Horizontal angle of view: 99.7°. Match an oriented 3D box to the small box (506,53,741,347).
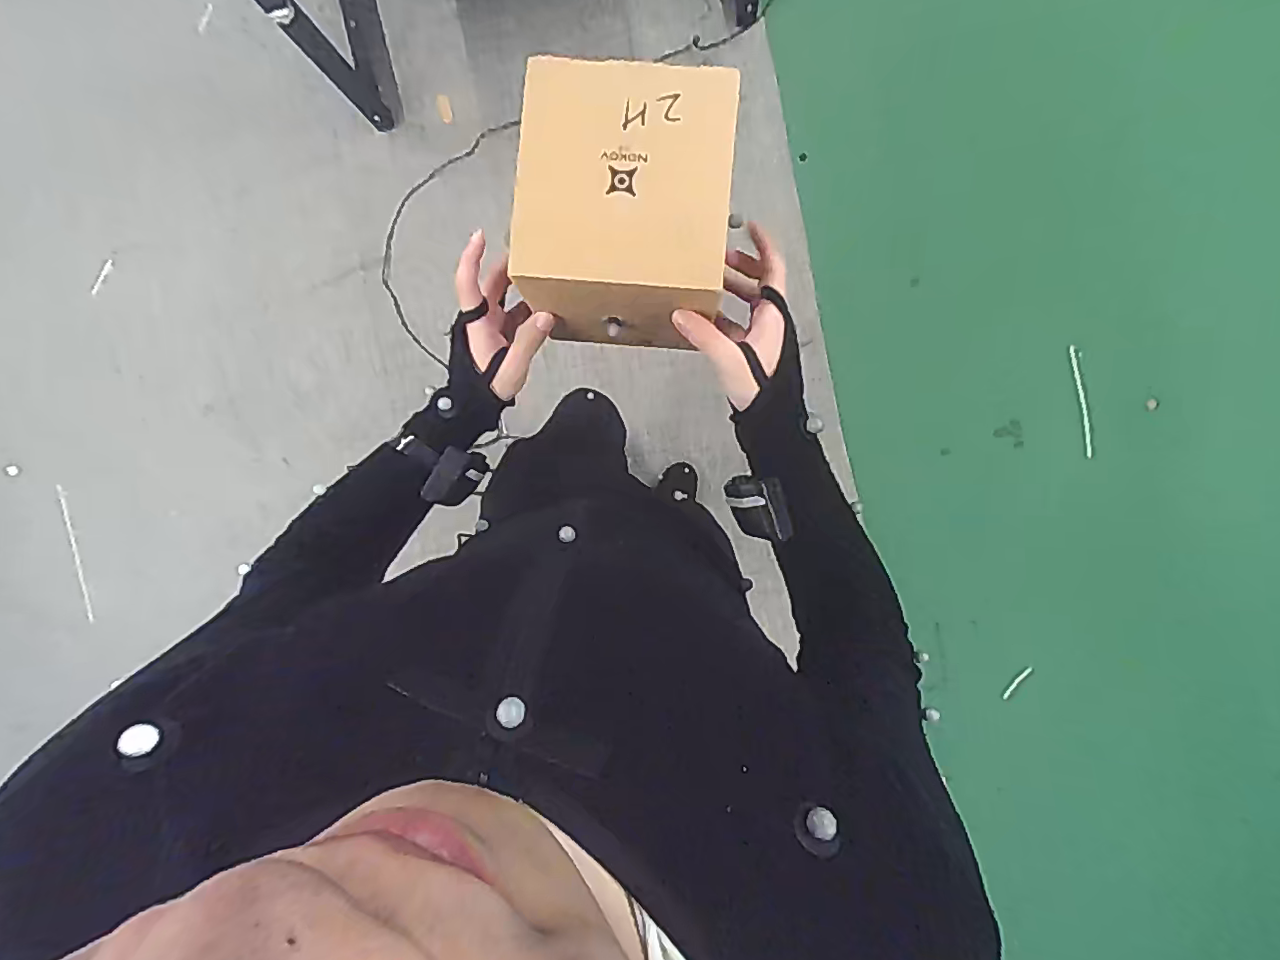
[{"bbox_3d":[-0.010,-0.230,0.487,0.168,0.176,0.179,5,88,2],"label":"small box"}]
